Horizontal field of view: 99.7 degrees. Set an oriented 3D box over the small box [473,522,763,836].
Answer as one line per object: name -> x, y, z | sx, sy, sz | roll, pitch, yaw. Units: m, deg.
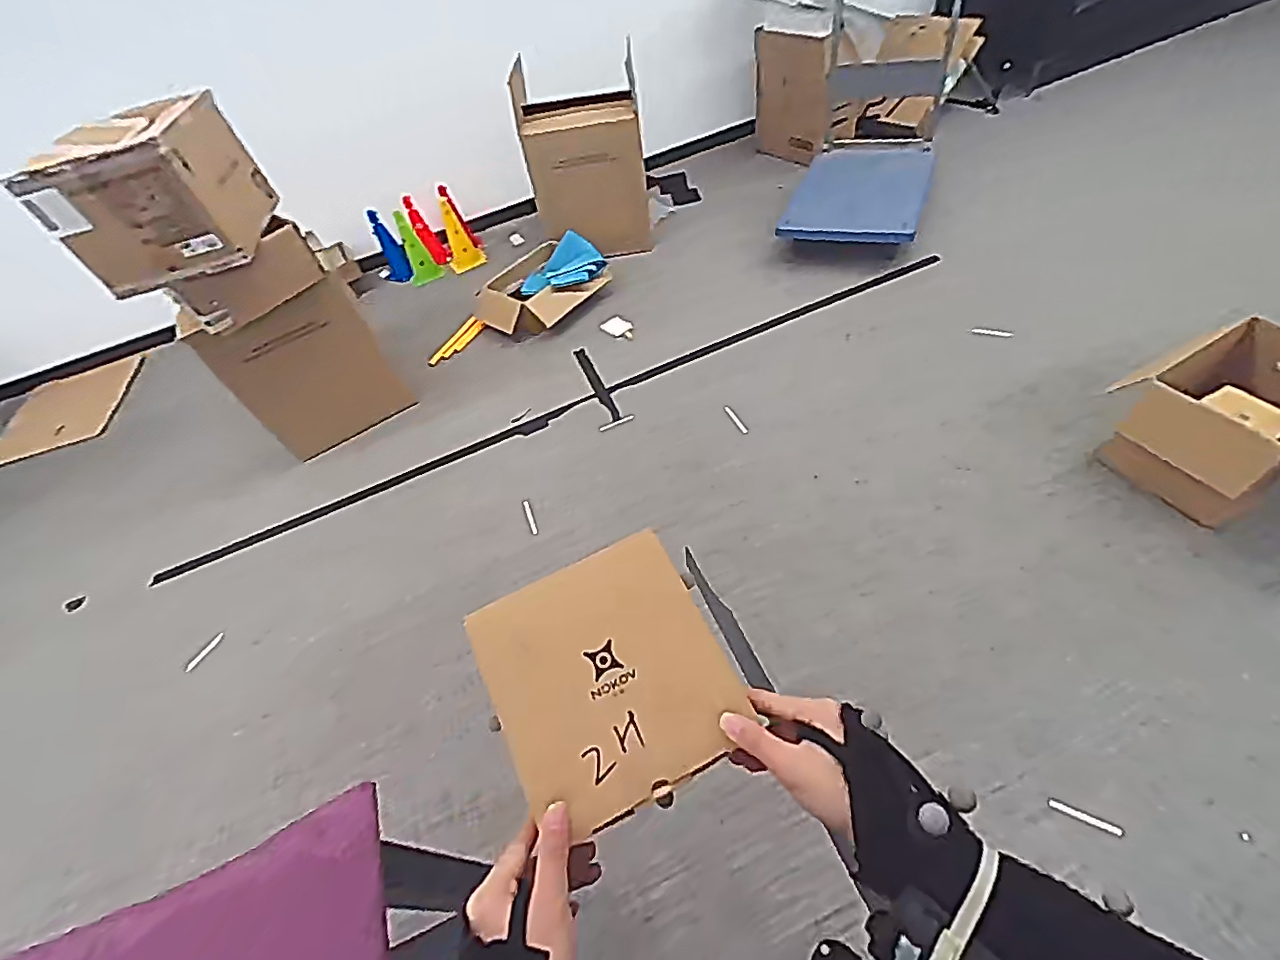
small box -> -0.021, 0.170, 0.470 | 0.168, 0.176, 0.179 | -24, 65, -11
